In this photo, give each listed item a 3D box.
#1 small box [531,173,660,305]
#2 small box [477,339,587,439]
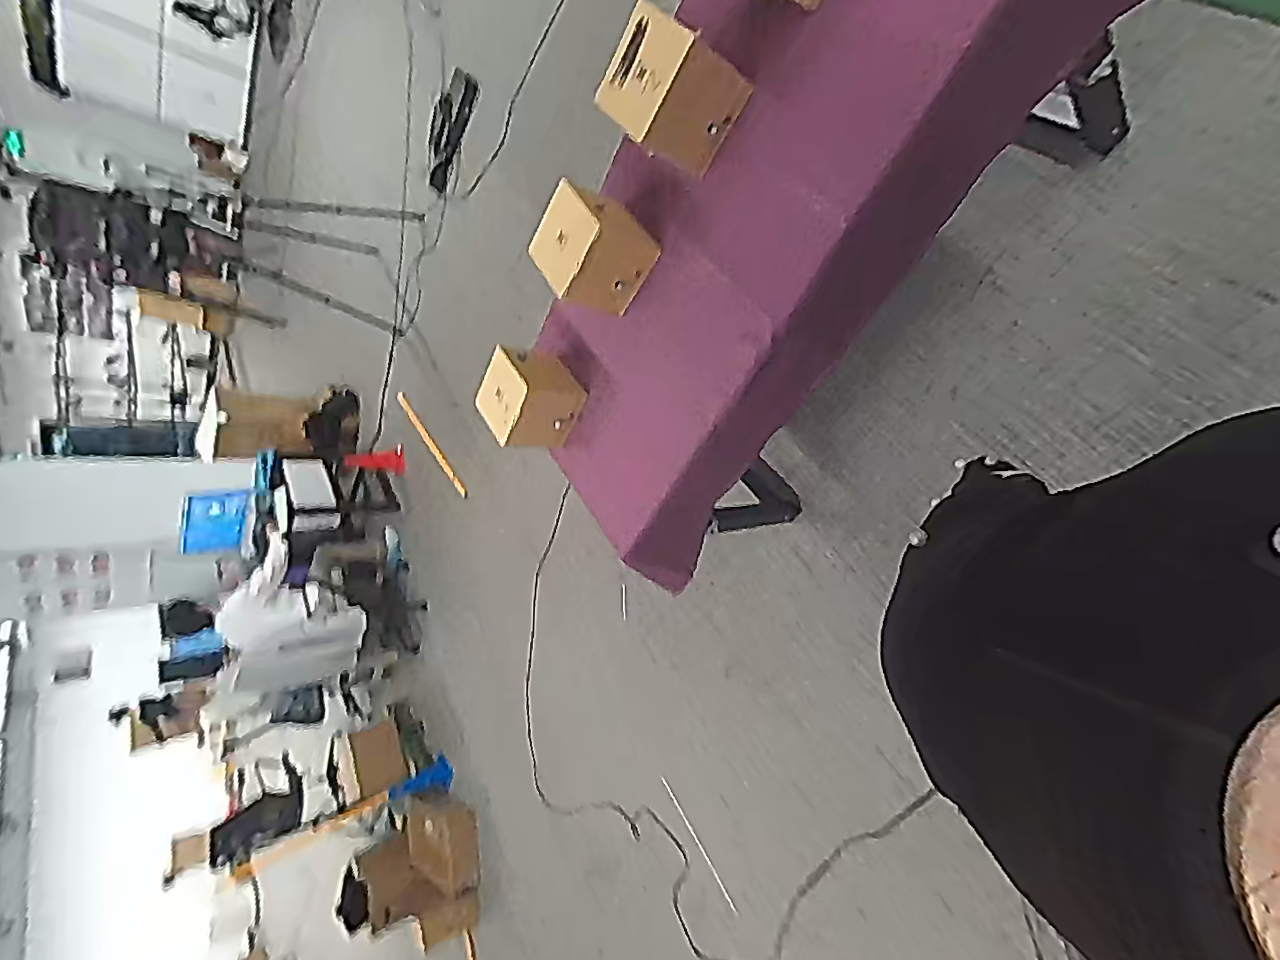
[{"bbox_3d":[-0.092,-0.488,1.125,0.168,0.176,0.179,-50,59,34],"label":"small box"},{"bbox_3d":[-0.259,-0.209,1.297,0.179,0.176,0.168,53,125,30],"label":"small box"}]
